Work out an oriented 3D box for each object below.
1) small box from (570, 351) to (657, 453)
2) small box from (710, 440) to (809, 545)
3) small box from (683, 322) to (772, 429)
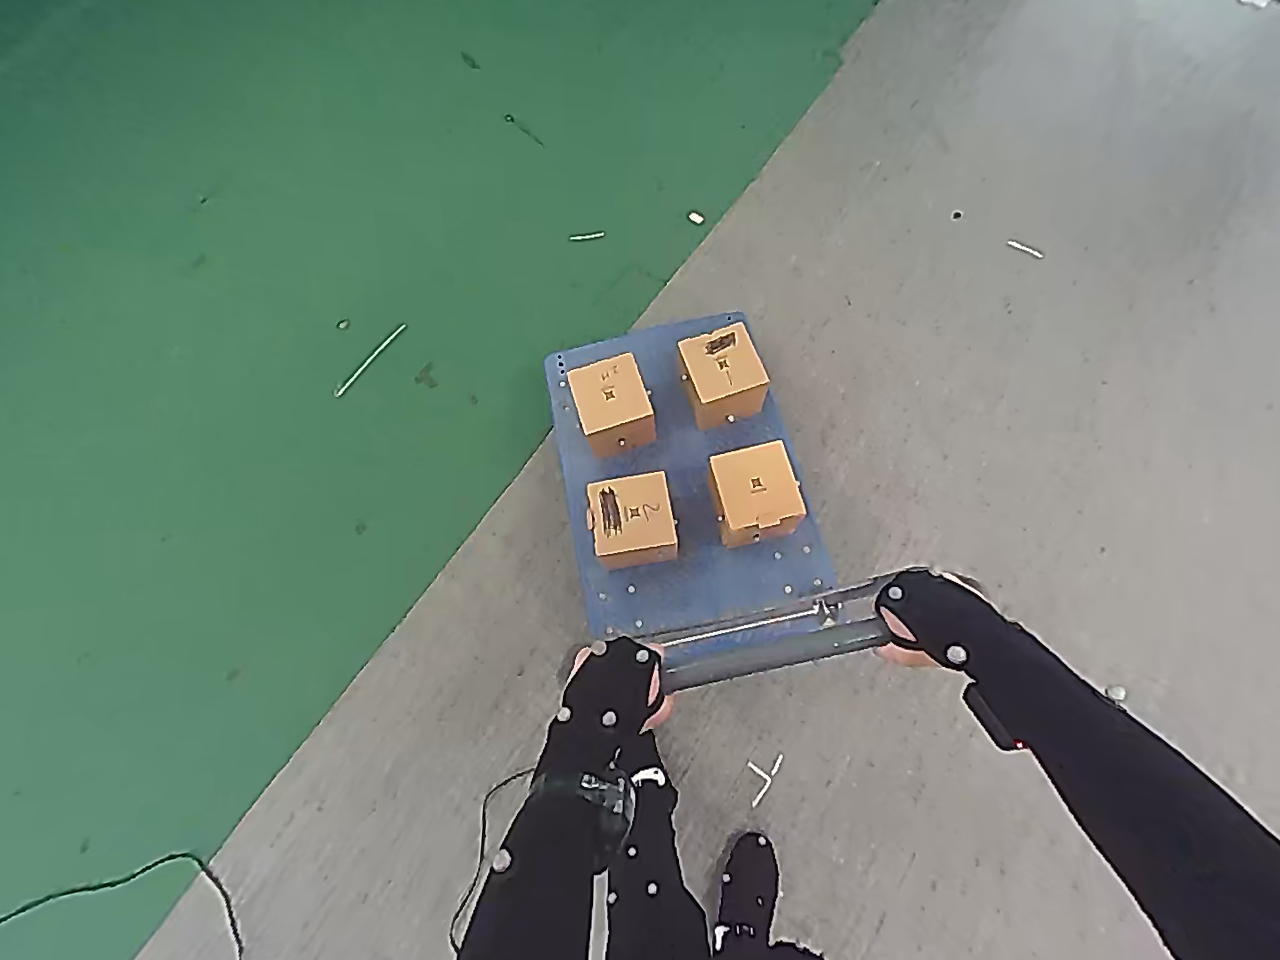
[{"bbox_3d":[-0.059,-0.181,1.324,0.168,0.176,0.179,-17,71,-3],"label":"small box"},{"bbox_3d":[0.261,0.034,1.229,0.168,0.176,0.179,-13,71,0],"label":"small box"},{"bbox_3d":[0.206,-0.251,1.329,0.168,0.176,0.179,-18,72,-1],"label":"small box"}]
